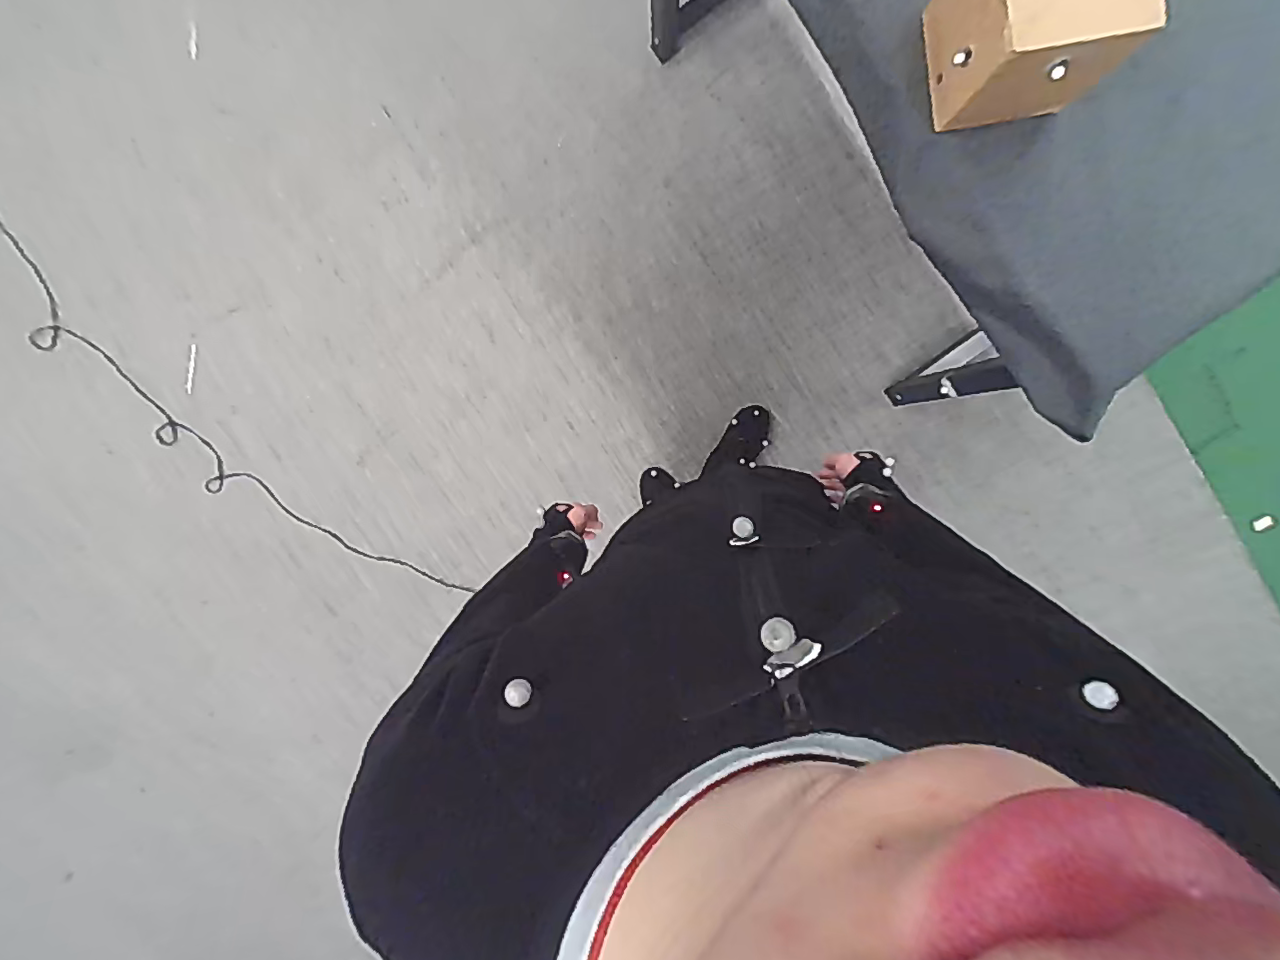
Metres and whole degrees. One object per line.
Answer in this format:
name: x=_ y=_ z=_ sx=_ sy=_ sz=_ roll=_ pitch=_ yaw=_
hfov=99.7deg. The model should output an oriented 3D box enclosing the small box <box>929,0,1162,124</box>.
small box: x=0.489 y=-0.584 z=0.681 sx=0.179 sy=0.176 sz=0.168 roll=-9 pitch=96 yaw=1
